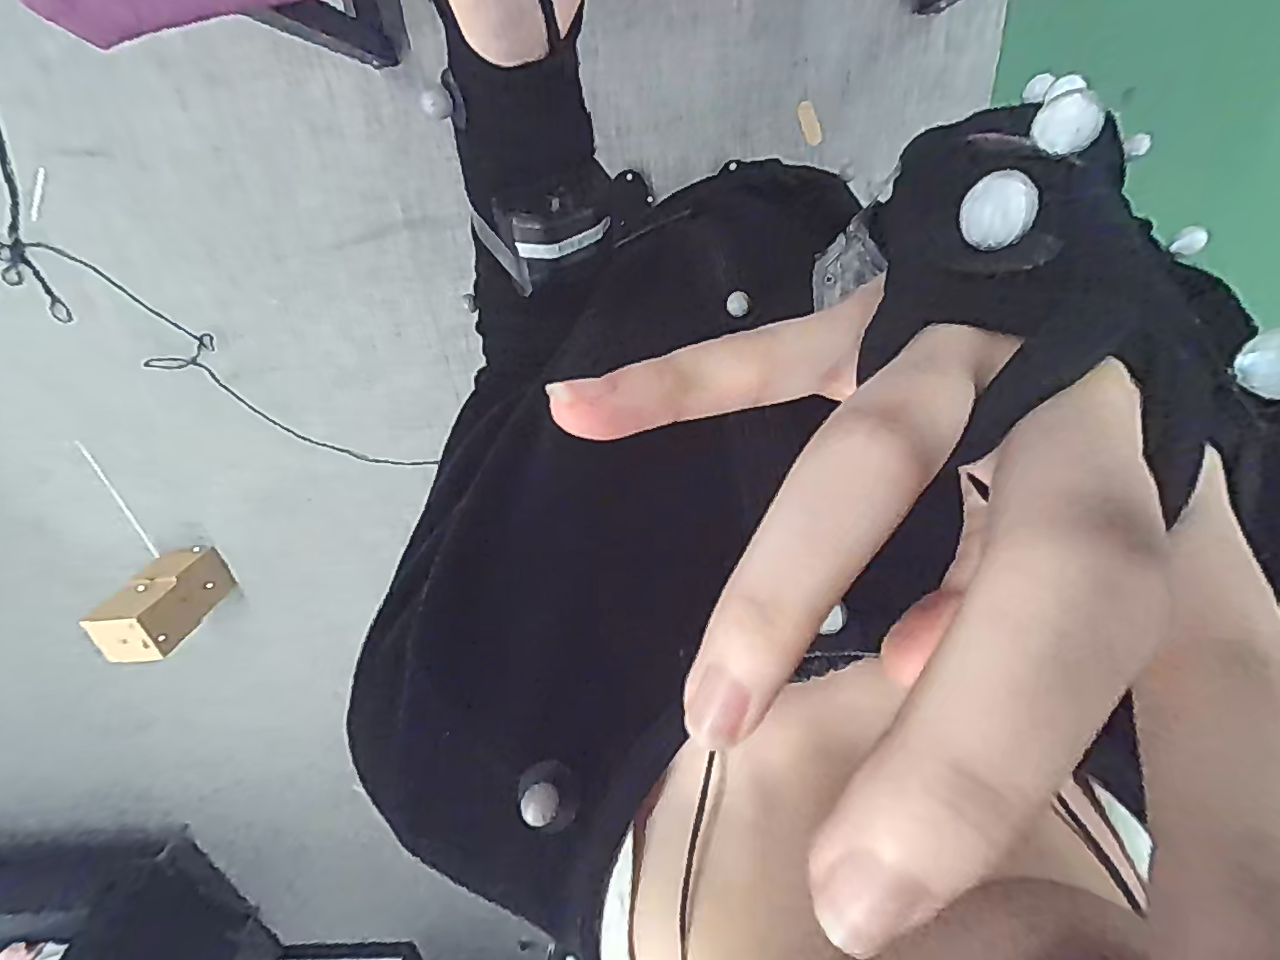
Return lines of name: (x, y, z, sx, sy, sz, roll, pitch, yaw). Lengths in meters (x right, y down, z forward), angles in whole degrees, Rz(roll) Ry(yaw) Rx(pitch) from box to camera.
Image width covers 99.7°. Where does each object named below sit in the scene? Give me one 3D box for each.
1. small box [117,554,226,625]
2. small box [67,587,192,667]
small box: (-1.507, 0.352, 1.753, 0.168, 0.176, 0.179, -5, 119, 5)
small box: (-1.509, 0.435, 1.611, 0.179, 0.176, 0.168, -3, 119, 4)
